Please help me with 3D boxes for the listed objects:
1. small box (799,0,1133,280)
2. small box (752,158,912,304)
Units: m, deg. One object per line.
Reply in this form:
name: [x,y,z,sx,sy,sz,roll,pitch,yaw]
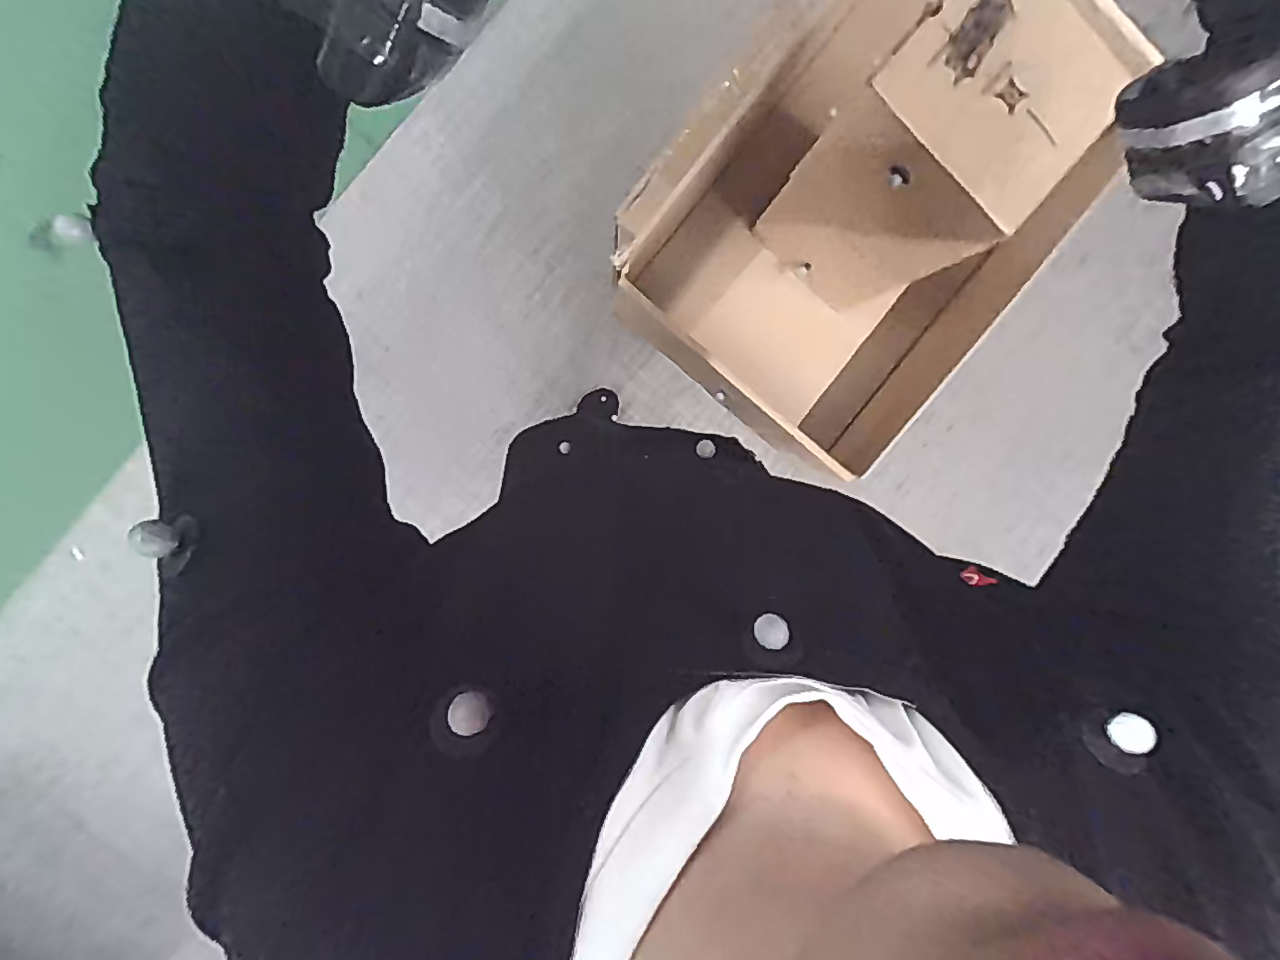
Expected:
small box: [0.287,-0.325,0.518,0.179,0.176,0.168,42,91,-8]
small box: [0.275,-0.344,0.681,0.179,0.176,0.168,39,90,-8]
